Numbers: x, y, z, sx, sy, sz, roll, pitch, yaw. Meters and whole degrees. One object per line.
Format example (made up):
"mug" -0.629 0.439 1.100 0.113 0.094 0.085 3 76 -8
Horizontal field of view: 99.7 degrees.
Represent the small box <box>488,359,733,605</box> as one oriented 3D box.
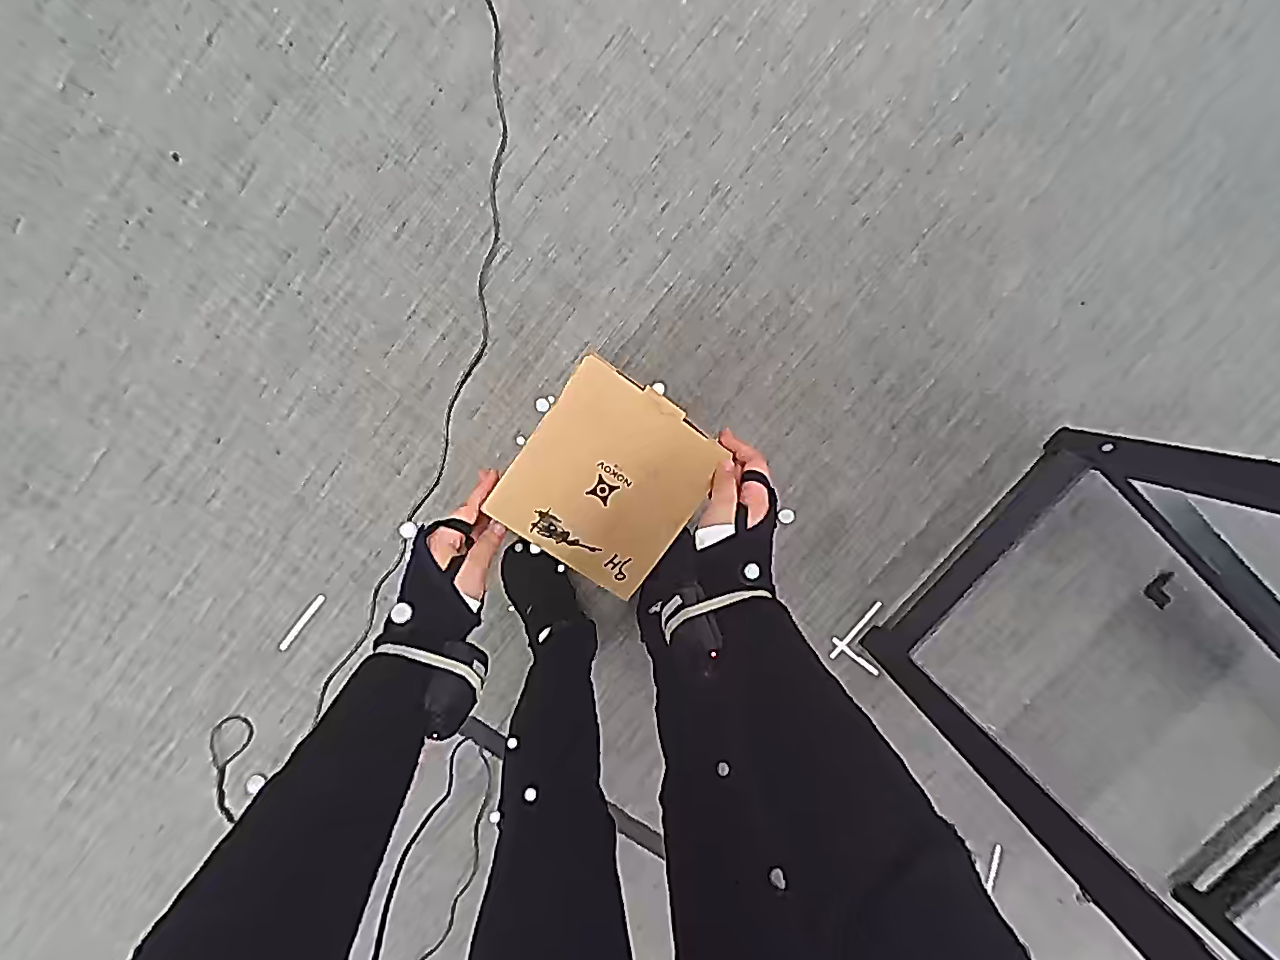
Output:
"small box" -0.034 -0.008 0.574 0.168 0.176 0.179 35 95 -10
